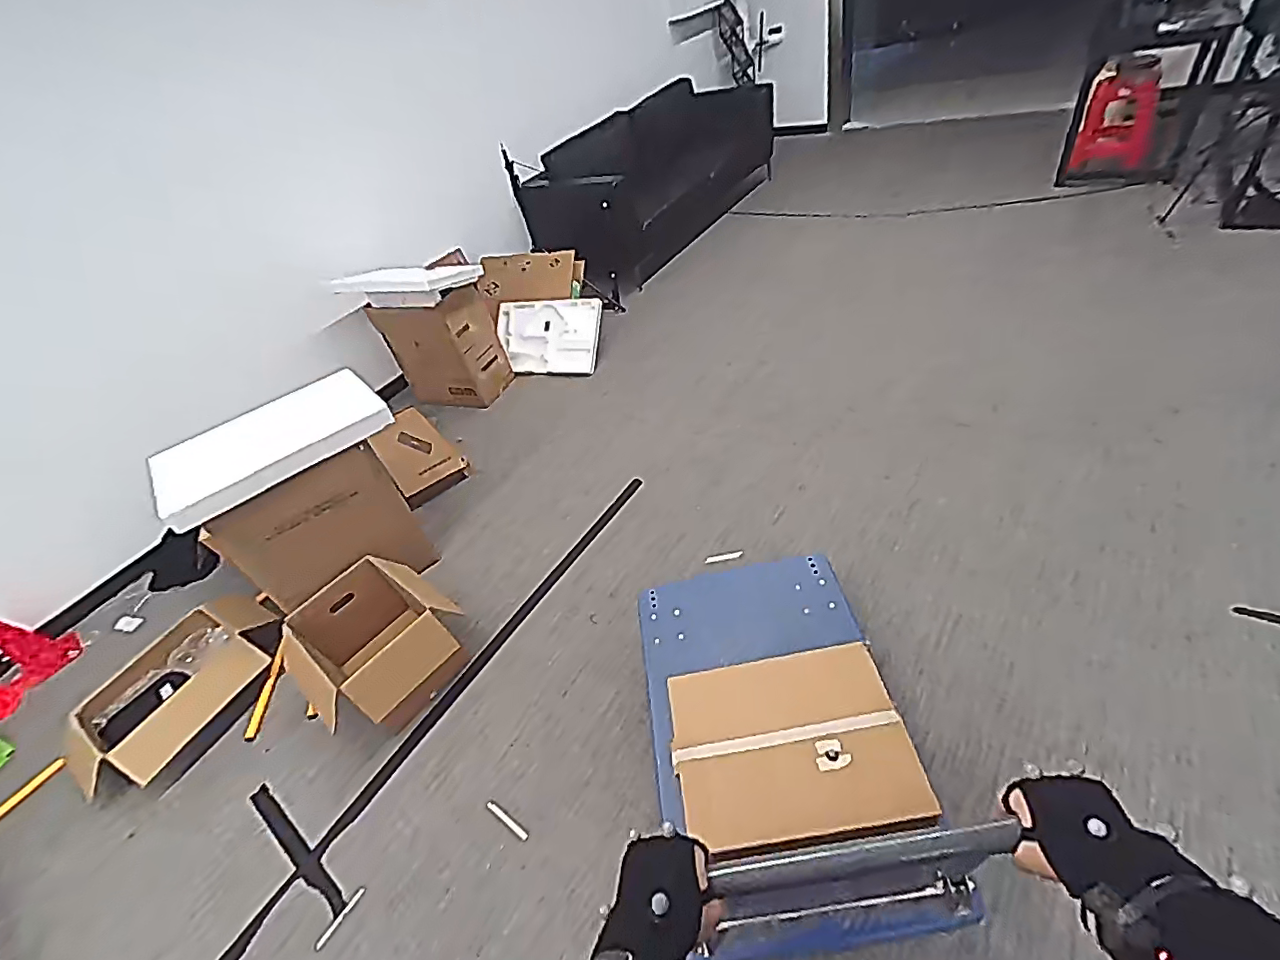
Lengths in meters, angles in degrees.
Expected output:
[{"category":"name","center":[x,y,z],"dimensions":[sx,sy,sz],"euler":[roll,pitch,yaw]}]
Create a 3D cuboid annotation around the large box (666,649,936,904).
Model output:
[{"category":"large box","center":[0.288,0.585,1.066],"dimensions":[0.408,0.320,0.320],"euler":[-12,42,3]}]
